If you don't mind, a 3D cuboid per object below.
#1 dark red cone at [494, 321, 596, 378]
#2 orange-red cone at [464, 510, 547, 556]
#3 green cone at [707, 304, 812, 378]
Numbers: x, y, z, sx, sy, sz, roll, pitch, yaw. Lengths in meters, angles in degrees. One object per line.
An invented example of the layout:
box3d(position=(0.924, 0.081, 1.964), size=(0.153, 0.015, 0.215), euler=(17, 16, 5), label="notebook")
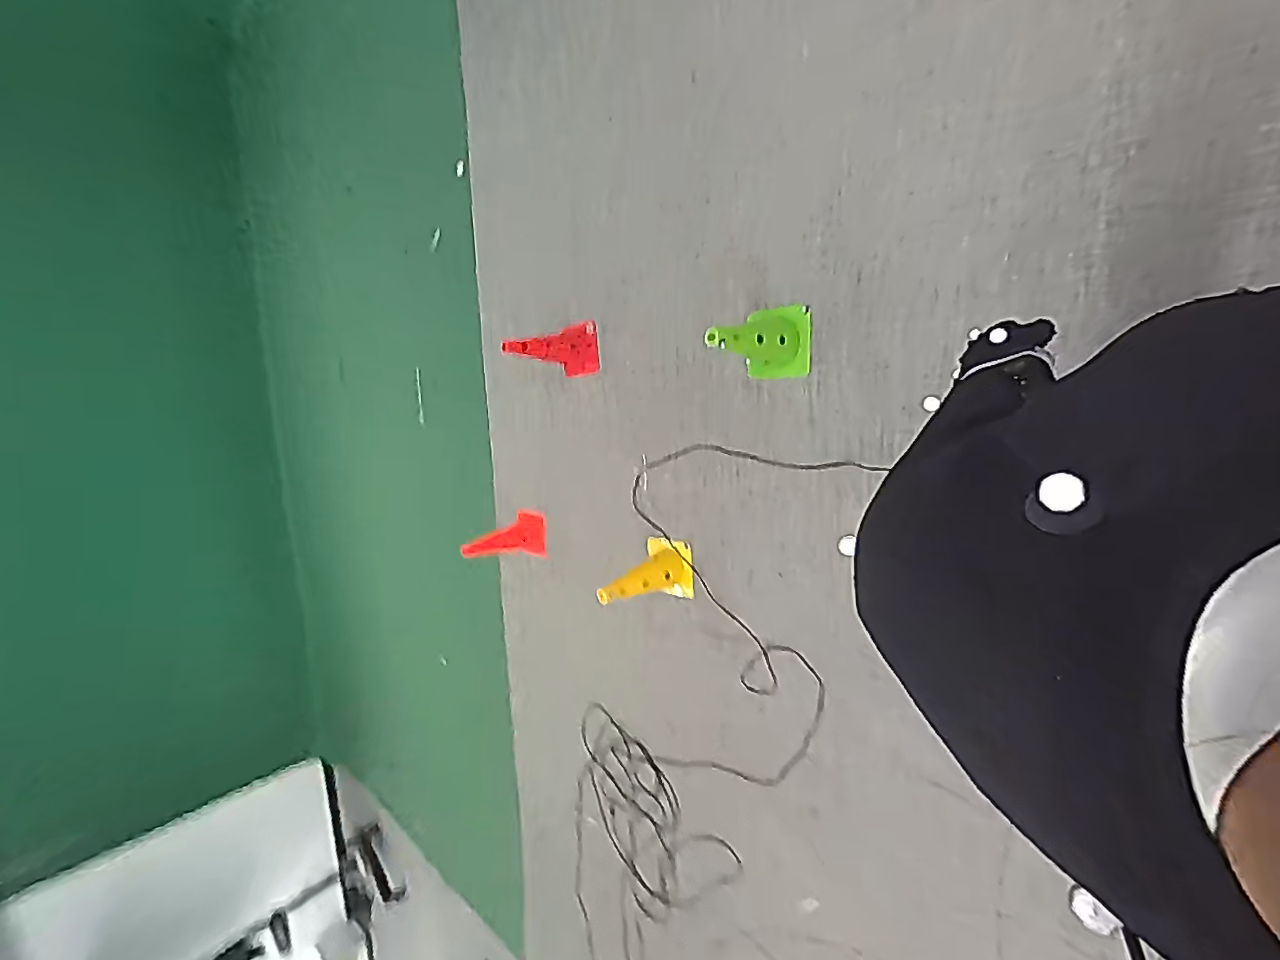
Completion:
box3d(position=(-0.358, -0.483, 1.989), size=(0.201, 0.394, 0.202), euler=(0, 98, 43), label="dark red cone")
box3d(position=(-0.613, 0.271, 2.395), size=(0.199, 0.360, 0.198), euler=(7, 104, 40), label="orange-red cone")
box3d(position=(0.294, -0.375, 1.460), size=(0.200, 0.368, 0.202), euler=(5, 103, 42), label="green cone")
